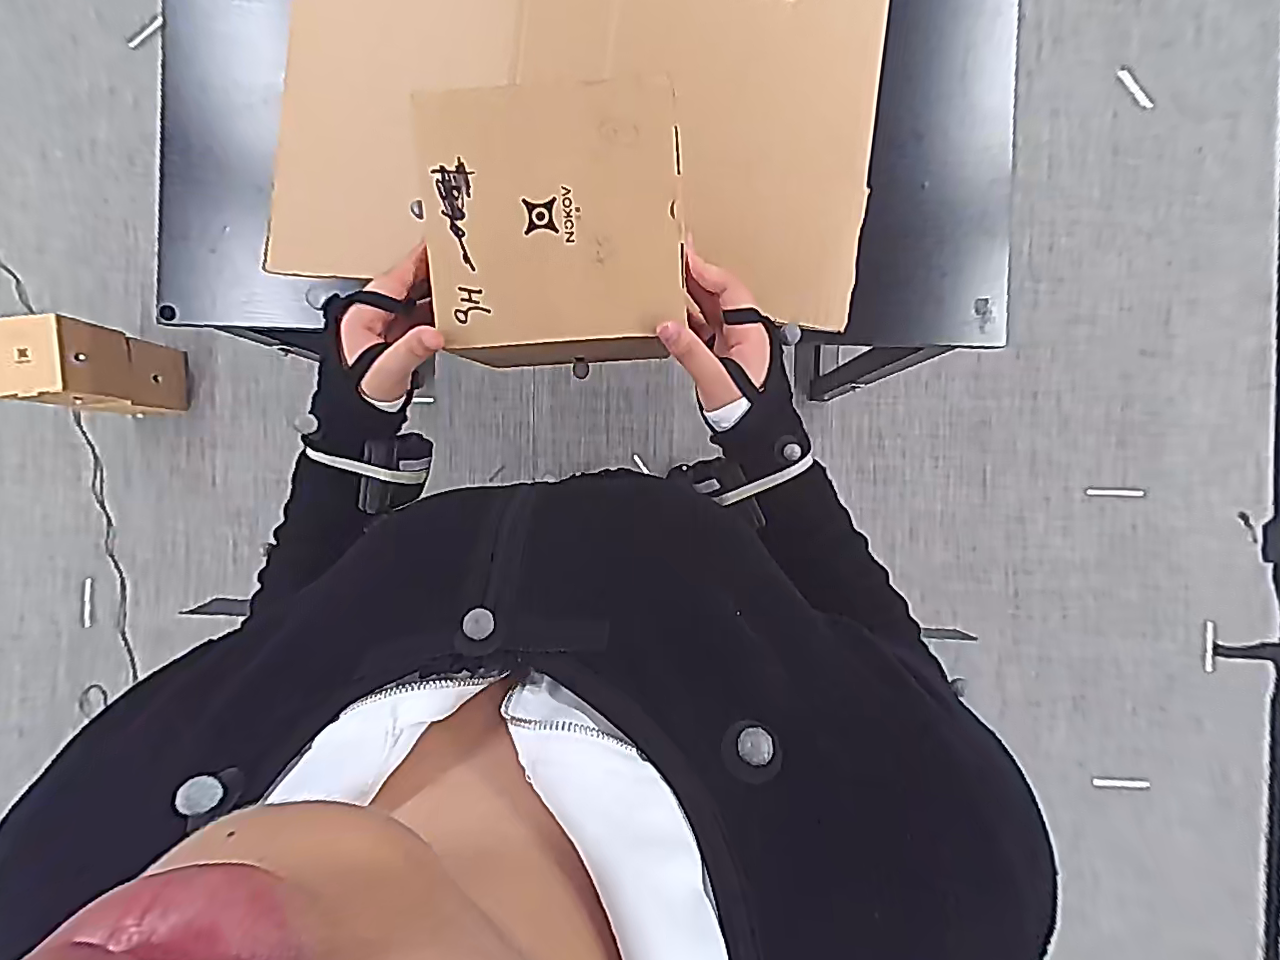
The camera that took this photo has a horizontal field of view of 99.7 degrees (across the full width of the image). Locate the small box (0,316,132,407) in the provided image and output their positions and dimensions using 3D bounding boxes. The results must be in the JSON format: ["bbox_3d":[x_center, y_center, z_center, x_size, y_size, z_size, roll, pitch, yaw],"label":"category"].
[{"bbox_3d":[-1.355,-0.270,1.274,0.168,0.176,0.179,-5,90,0],"label":"small box"}]

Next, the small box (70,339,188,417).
[{"bbox_3d":[-1.352,-0.265,1.437,0.168,0.176,0.179,-2,91,1],"label":"small box"}]
